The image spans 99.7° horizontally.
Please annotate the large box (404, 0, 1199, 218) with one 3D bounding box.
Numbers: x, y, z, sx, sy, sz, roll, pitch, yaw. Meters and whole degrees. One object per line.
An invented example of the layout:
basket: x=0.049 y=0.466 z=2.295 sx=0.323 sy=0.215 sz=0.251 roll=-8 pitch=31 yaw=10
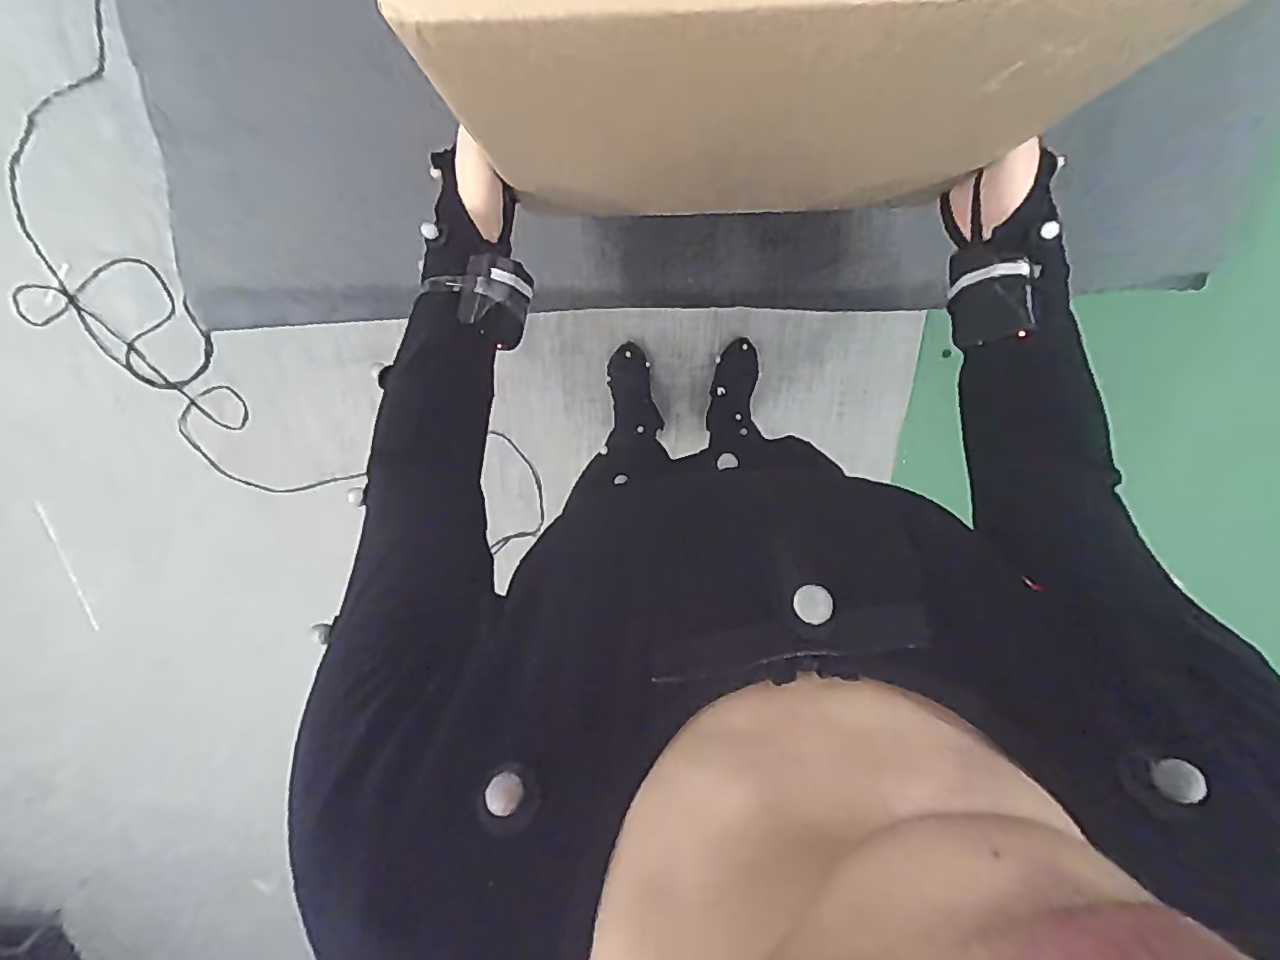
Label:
large box: x=0.078 y=-0.398 z=0.376 sx=0.408 sy=0.320 sz=0.320 roll=-2 pitch=101 yaw=1
